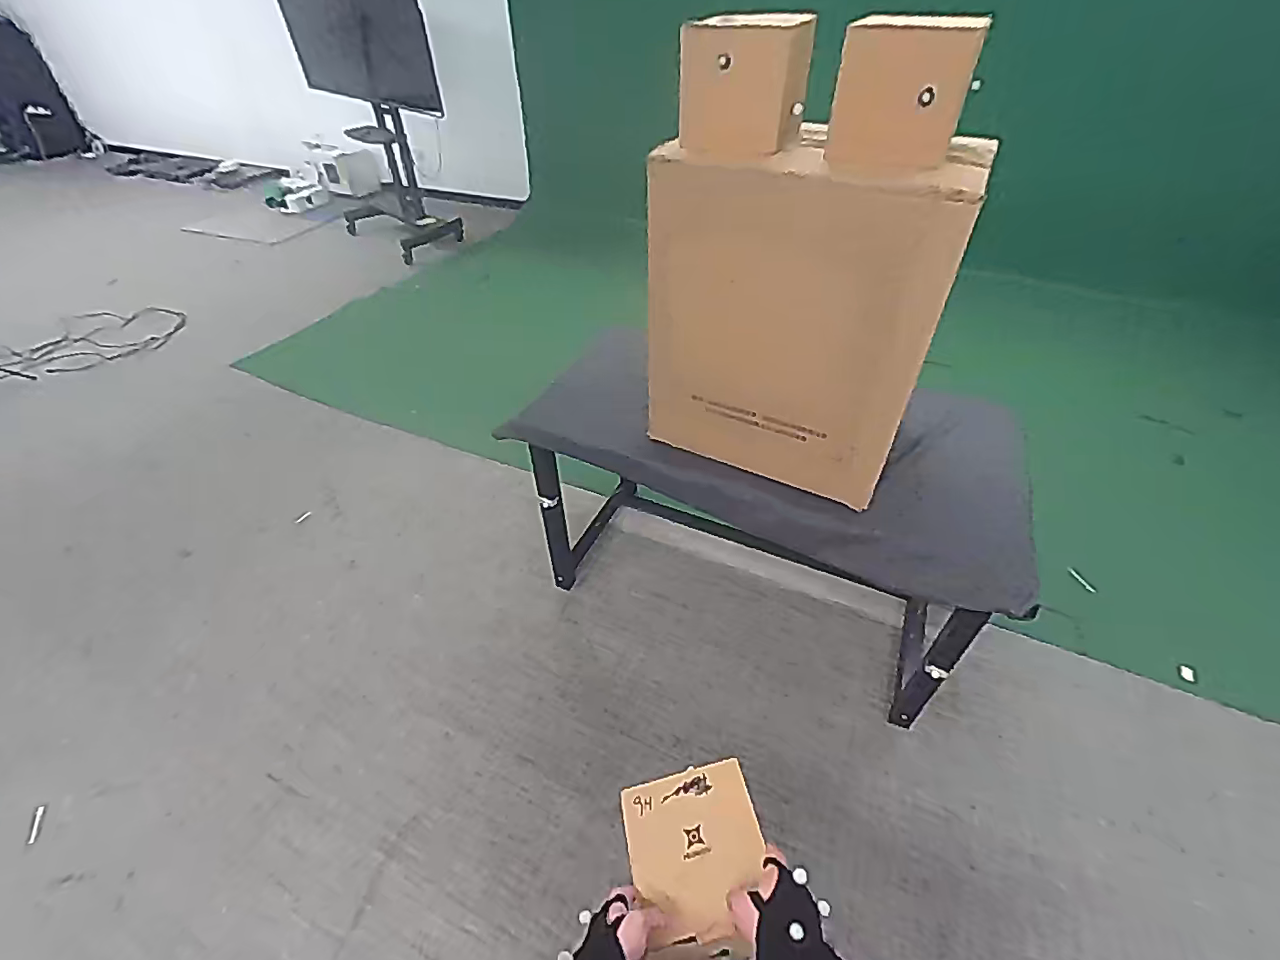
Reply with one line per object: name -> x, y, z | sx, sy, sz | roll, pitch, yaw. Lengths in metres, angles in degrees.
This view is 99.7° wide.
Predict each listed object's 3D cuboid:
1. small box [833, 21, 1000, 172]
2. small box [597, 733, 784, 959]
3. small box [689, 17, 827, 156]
small box -> 0.422, -0.594, 0.840 | 0.179, 0.176, 0.168 | 20, 47, 22
small box -> 0.076, 0.493, 0.721 | 0.179, 0.176, 0.168 | -36, 40, -25
small box -> 0.197, -0.670, 0.924 | 0.179, 0.176, 0.168 | 21, 51, 23
